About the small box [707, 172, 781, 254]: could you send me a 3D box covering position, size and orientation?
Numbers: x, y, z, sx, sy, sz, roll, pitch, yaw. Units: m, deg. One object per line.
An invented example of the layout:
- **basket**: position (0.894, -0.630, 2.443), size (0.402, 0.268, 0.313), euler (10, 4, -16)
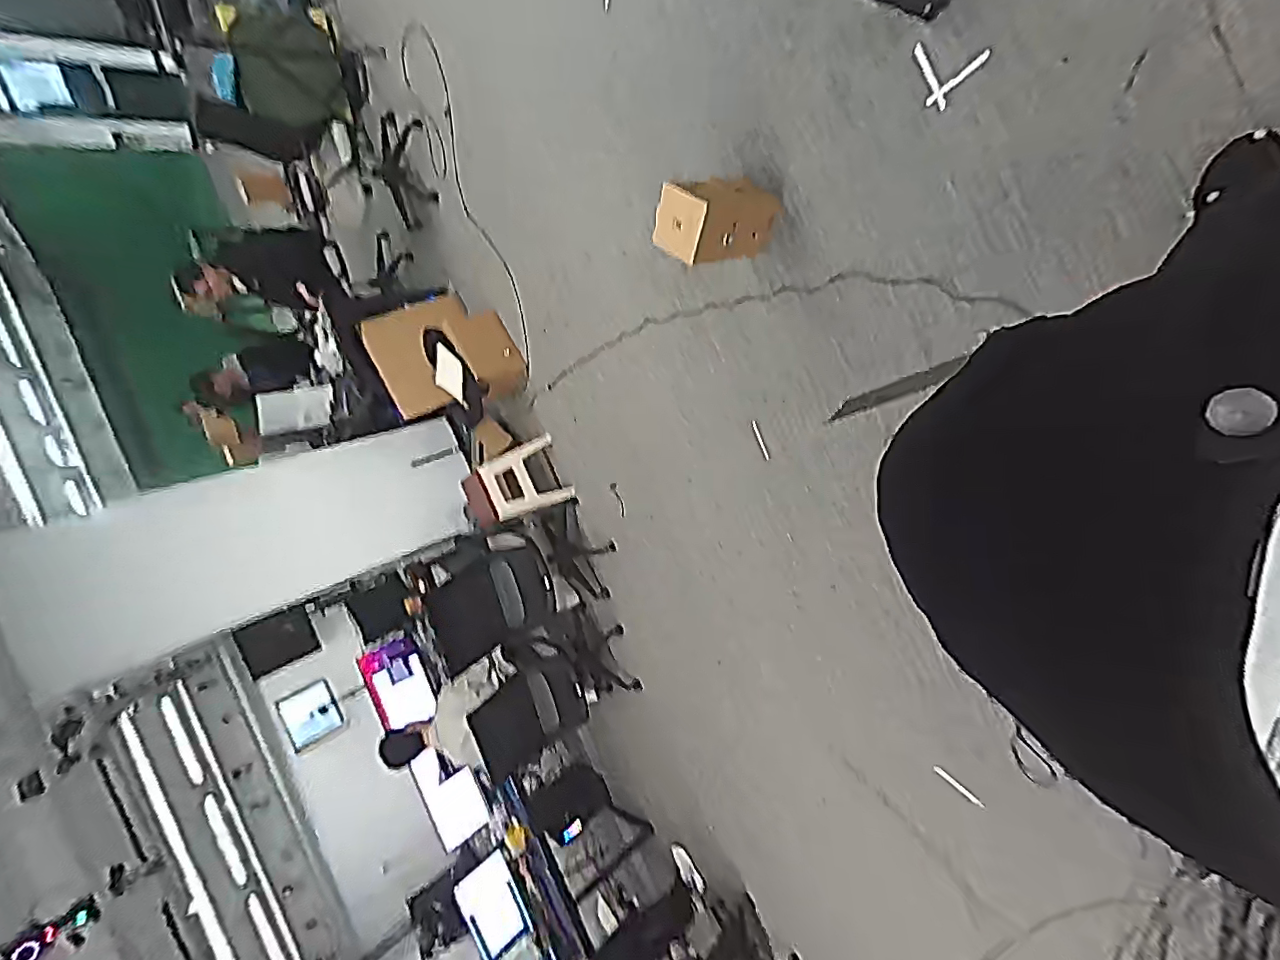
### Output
- **small box**: position (0.290, -0.804, 1.623), size (0.179, 0.176, 0.168), euler (48, 139, 25)

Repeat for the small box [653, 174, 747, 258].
- **small box**: position (0.169, -0.748, 1.529), size (0.179, 0.176, 0.168), euler (43, 139, 27)
